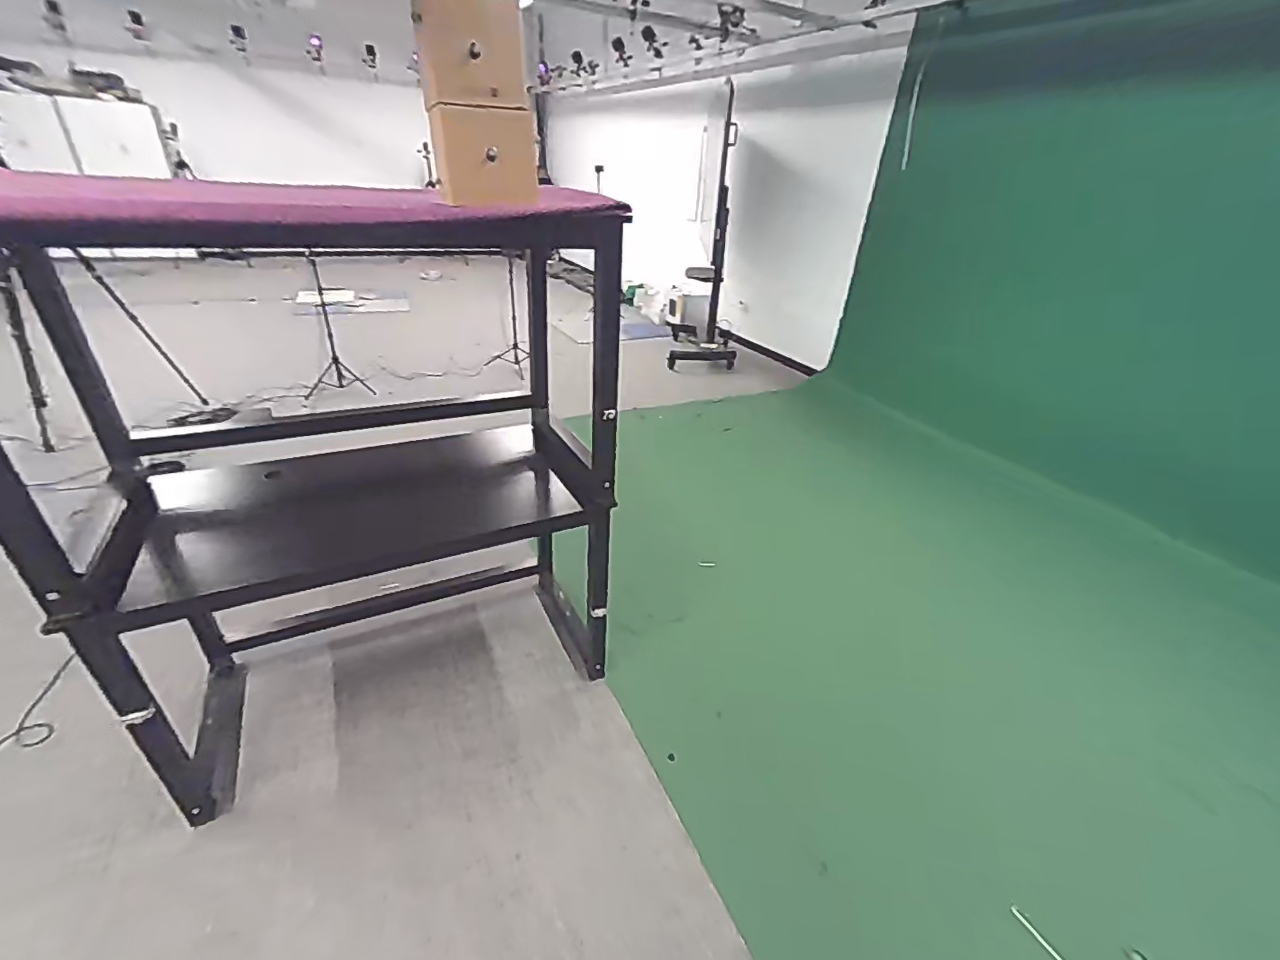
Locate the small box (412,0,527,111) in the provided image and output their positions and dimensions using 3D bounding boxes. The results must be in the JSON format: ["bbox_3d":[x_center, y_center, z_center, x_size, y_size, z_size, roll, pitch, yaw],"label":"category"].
[{"bbox_3d":[-0.314,-0.793,1.004,0.168,0.176,0.179,-12,32,-23],"label":"small box"}]
